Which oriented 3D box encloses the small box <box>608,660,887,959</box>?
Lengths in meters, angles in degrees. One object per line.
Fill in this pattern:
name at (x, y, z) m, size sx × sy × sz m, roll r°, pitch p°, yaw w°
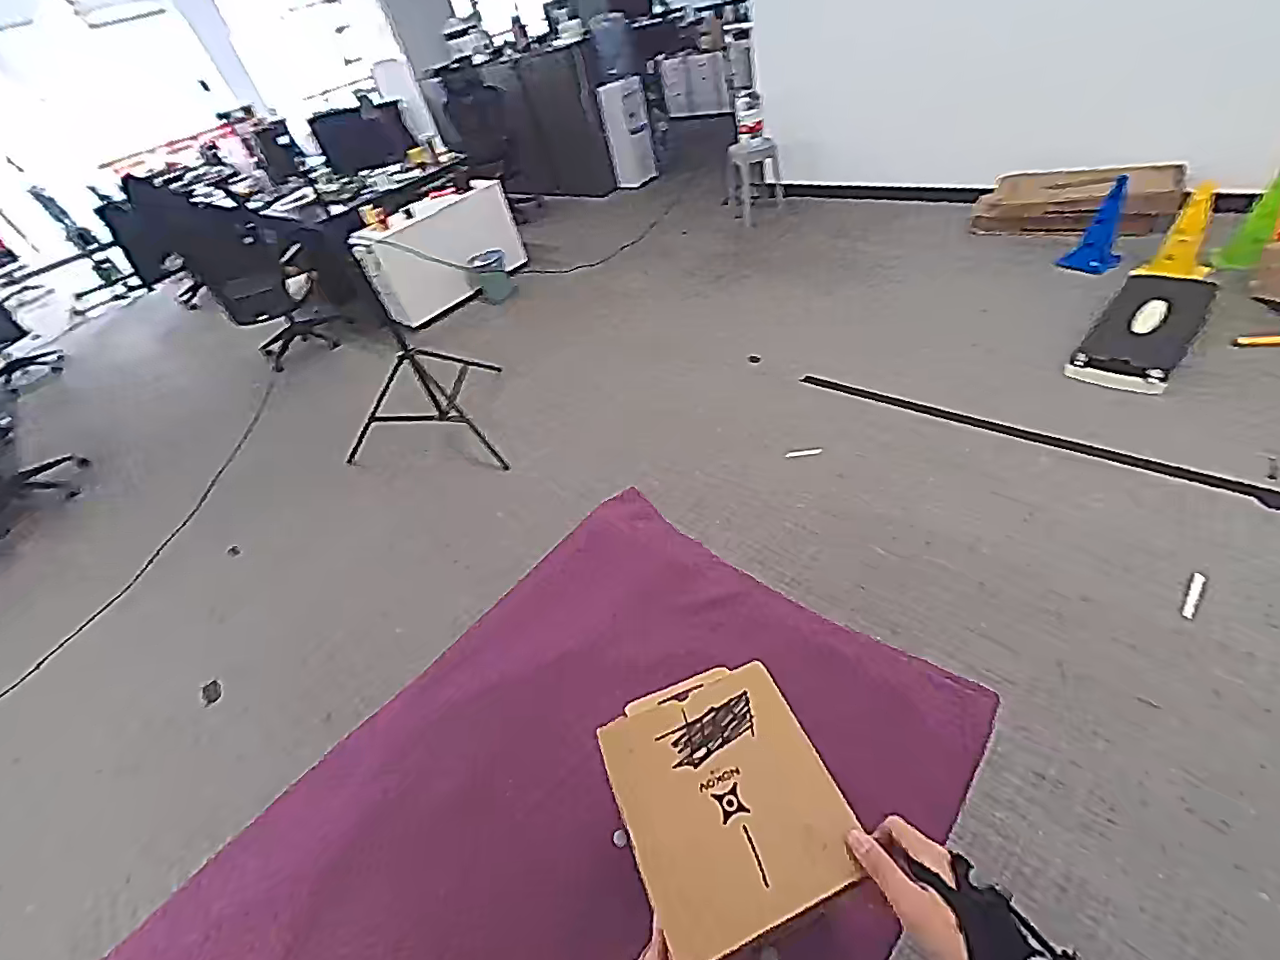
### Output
small box at (0.079, 0.302, 0.488) m, size 0.168 × 0.176 × 0.179 m, roll -18°, pitch 47°, yaw -13°
